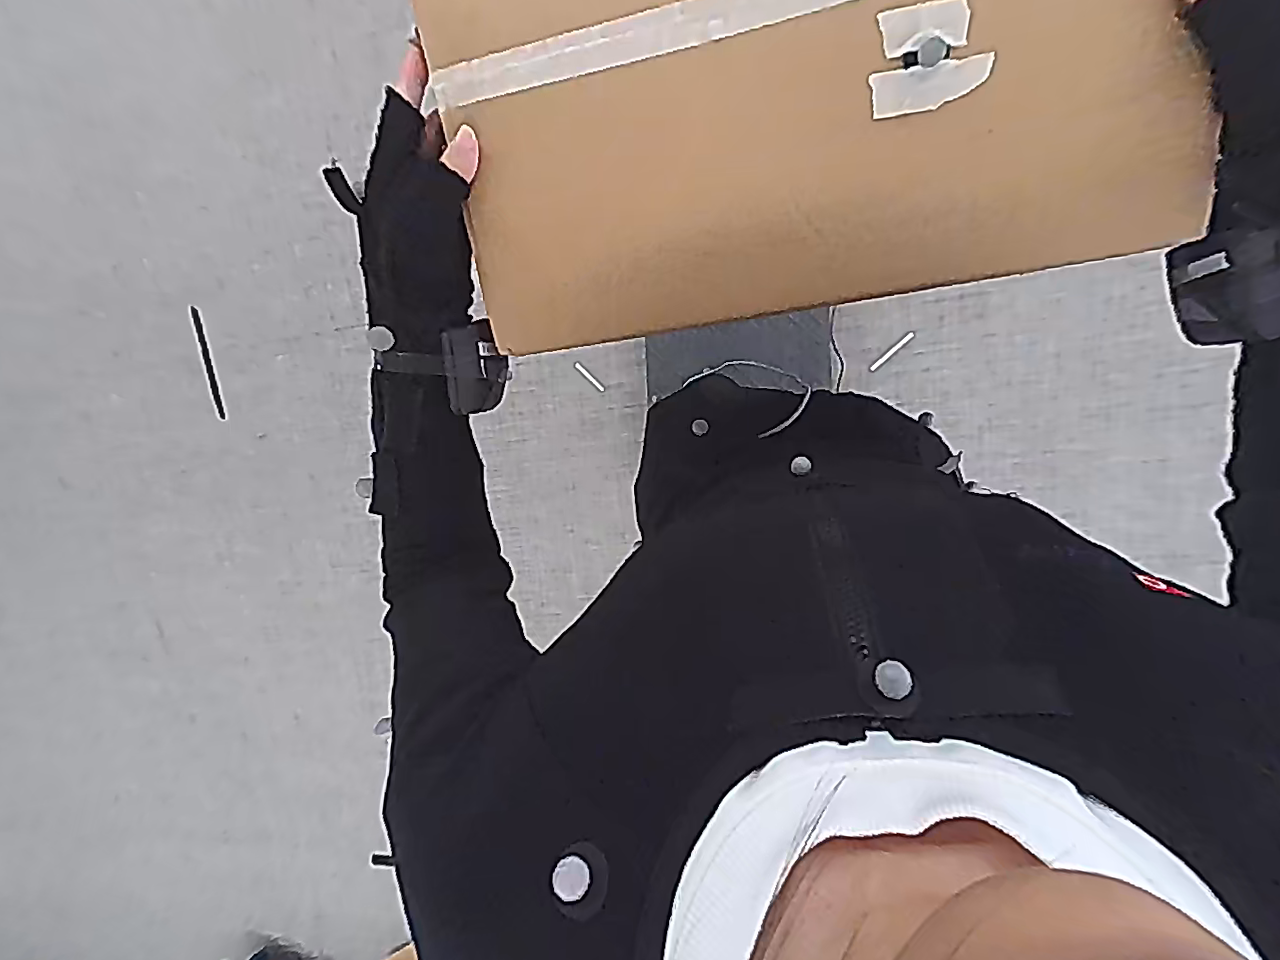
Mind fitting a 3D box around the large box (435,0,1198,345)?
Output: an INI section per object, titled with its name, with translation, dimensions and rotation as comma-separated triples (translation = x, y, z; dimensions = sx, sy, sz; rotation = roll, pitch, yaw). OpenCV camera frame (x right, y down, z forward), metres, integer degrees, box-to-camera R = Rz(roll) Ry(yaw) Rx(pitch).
[large box]
translation = 0.098, -0.306, 0.437
dimensions = 0.408, 0.320, 0.320
rotation = -7, 107, 10
